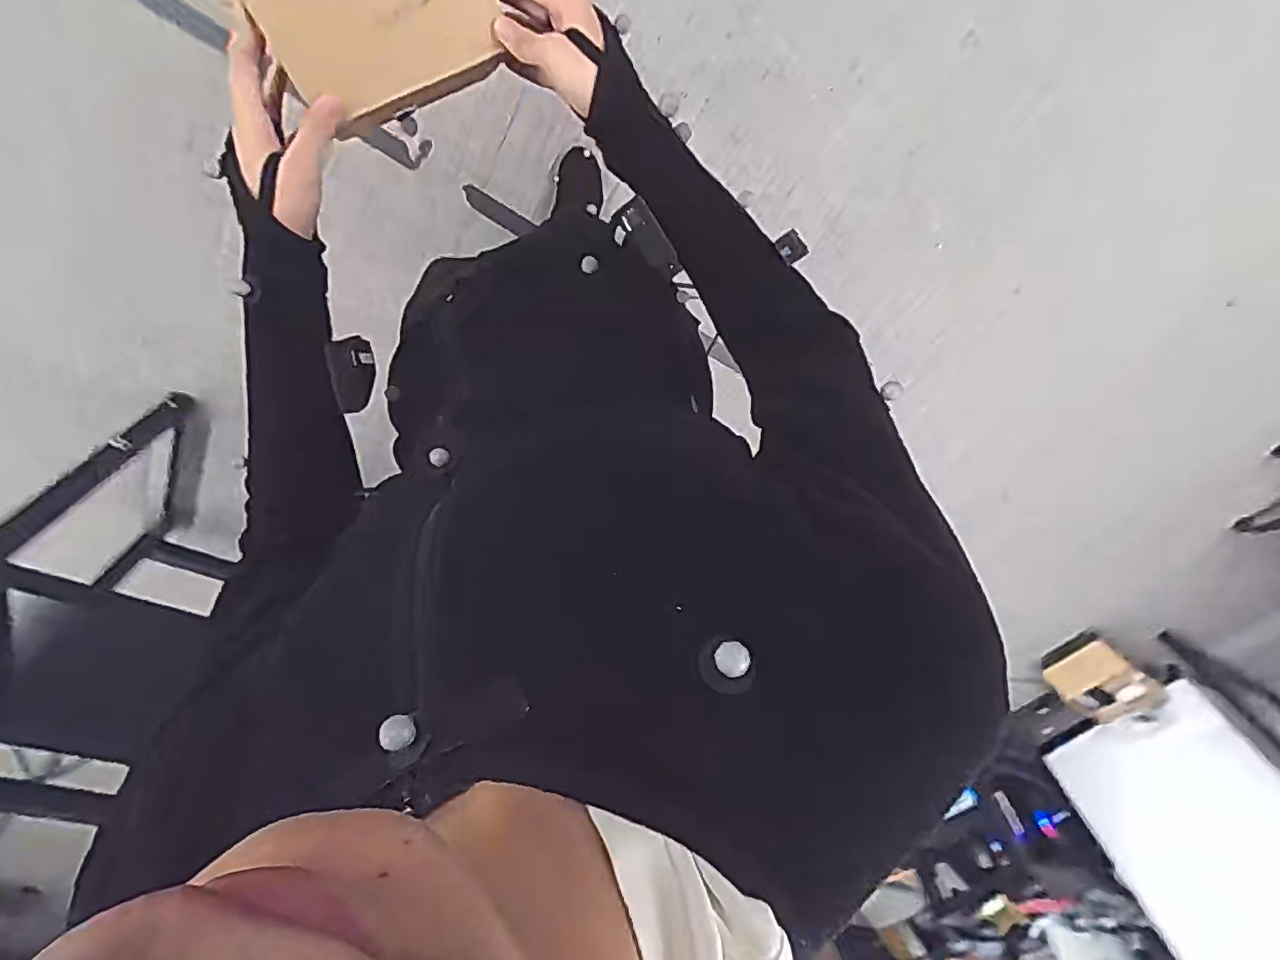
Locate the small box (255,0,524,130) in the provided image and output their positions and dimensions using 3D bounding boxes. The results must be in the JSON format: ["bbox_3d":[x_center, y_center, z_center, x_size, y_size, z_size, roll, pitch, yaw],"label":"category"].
[{"bbox_3d":[-0.214,-0.399,0.418,0.168,0.176,0.179,-28,126,-6],"label":"small box"}]
